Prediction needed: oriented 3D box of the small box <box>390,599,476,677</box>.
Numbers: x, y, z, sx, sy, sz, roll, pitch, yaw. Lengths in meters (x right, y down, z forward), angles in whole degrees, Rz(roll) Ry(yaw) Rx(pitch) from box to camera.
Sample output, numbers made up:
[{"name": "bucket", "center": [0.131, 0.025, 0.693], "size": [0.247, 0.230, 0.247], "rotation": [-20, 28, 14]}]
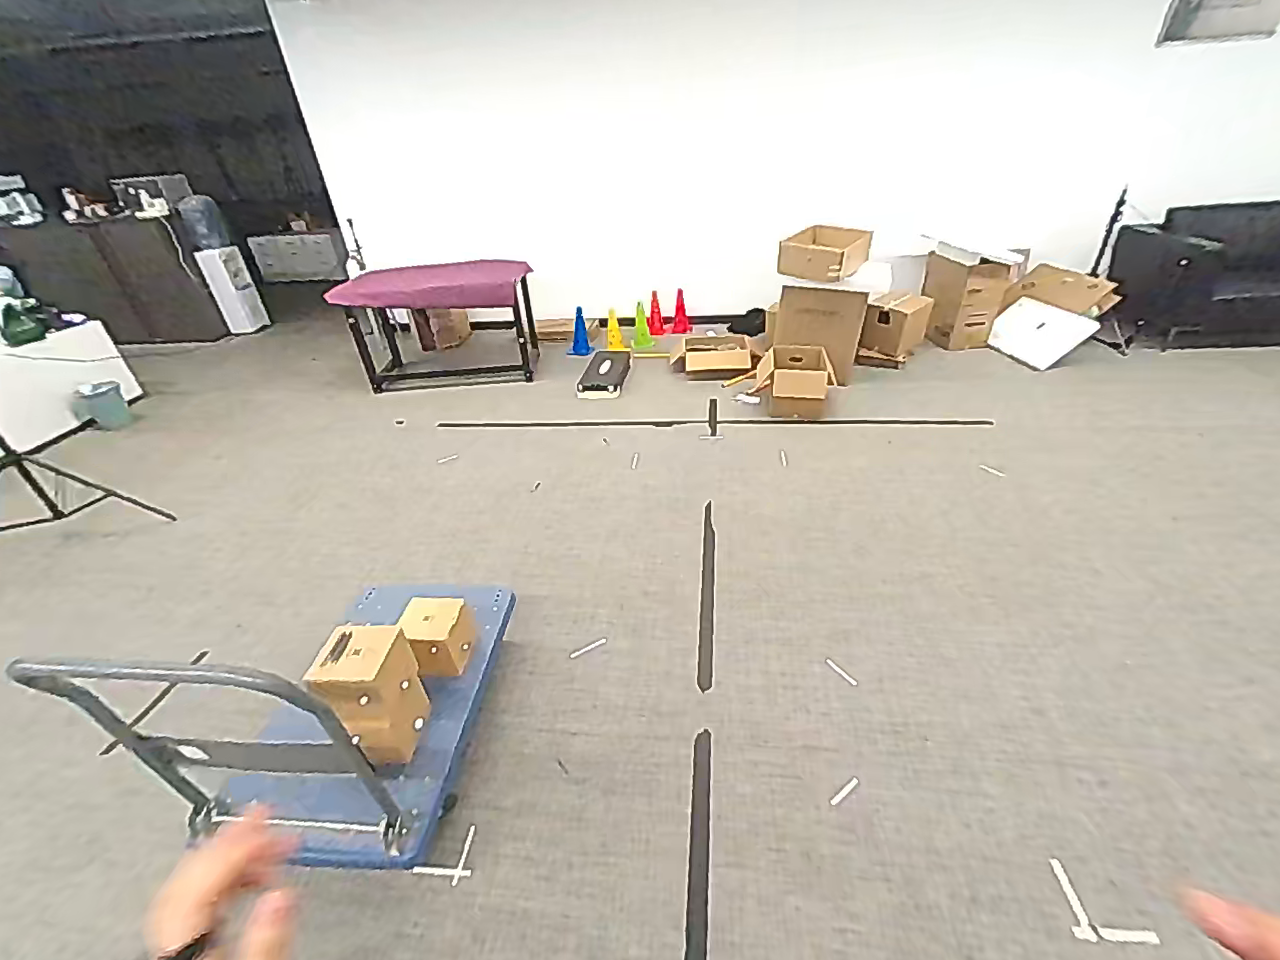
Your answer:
[{"name": "small box", "center": [-0.628, 0.486, 1.662], "size": [0.179, 0.176, 0.168], "rotation": [0, 33, 6]}]

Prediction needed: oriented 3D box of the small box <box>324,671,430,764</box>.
[{"name": "small box", "center": [-0.690, 0.633, 1.441], "size": [0.179, 0.176, 0.168], "rotation": [-1, 34, 4]}]
